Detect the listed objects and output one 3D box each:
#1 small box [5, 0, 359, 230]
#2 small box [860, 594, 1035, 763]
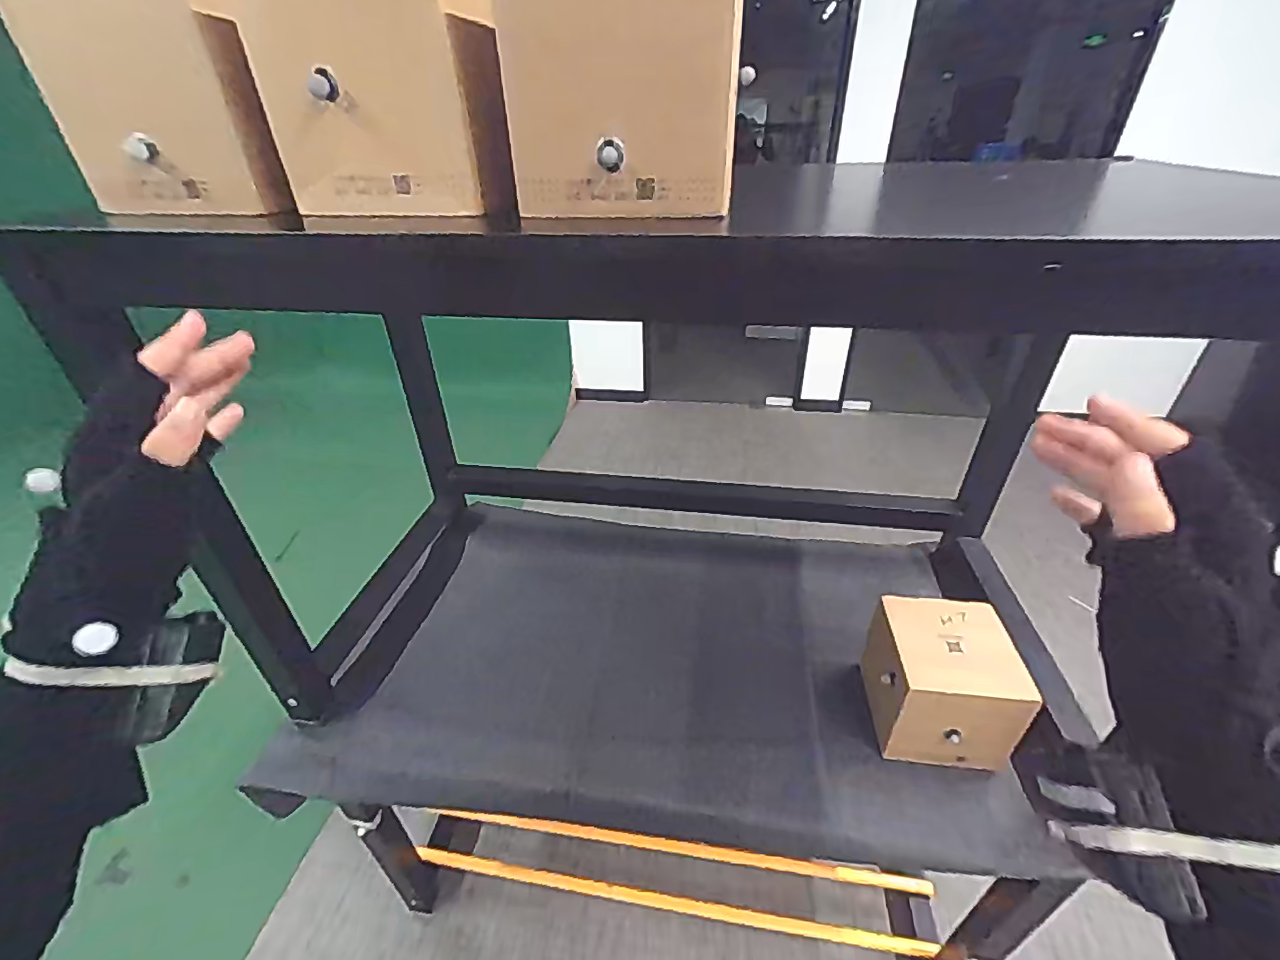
[{"bbox_3d":[-0.398,-0.345,0.513,0.168,0.176,0.179,3,35,7],"label":"small box"},{"bbox_3d":[0.449,0.299,0.822,0.168,0.176,0.179,3,33,7],"label":"small box"}]
